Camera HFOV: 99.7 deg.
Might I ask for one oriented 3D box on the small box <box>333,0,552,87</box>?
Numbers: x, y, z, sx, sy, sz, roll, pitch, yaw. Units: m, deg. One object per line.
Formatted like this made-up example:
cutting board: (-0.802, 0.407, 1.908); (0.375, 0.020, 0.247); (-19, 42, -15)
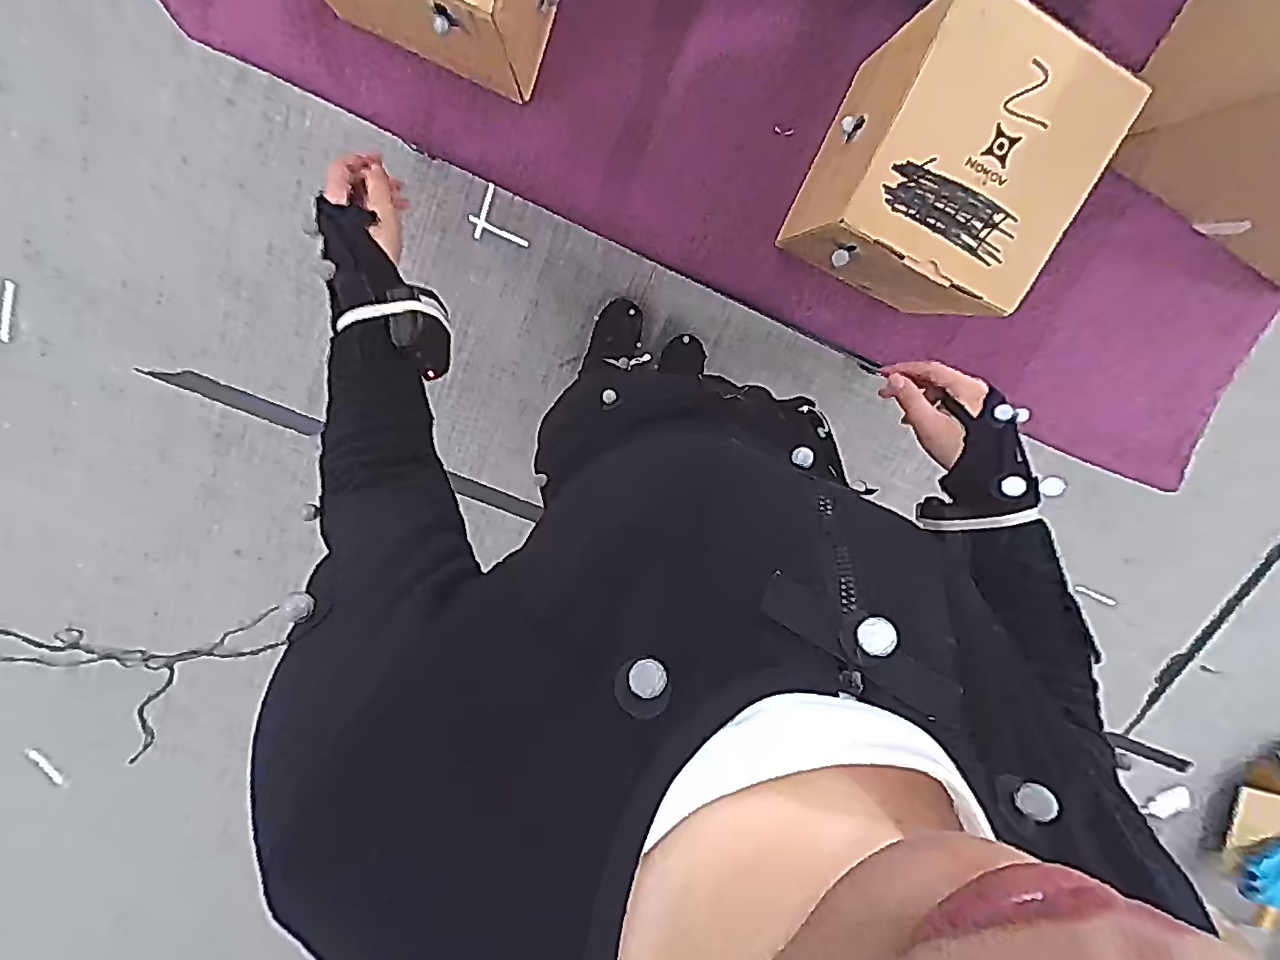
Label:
small box: (-0.153, -0.429, 0.389); (0.179, 0.176, 0.168); (19, 106, -11)
